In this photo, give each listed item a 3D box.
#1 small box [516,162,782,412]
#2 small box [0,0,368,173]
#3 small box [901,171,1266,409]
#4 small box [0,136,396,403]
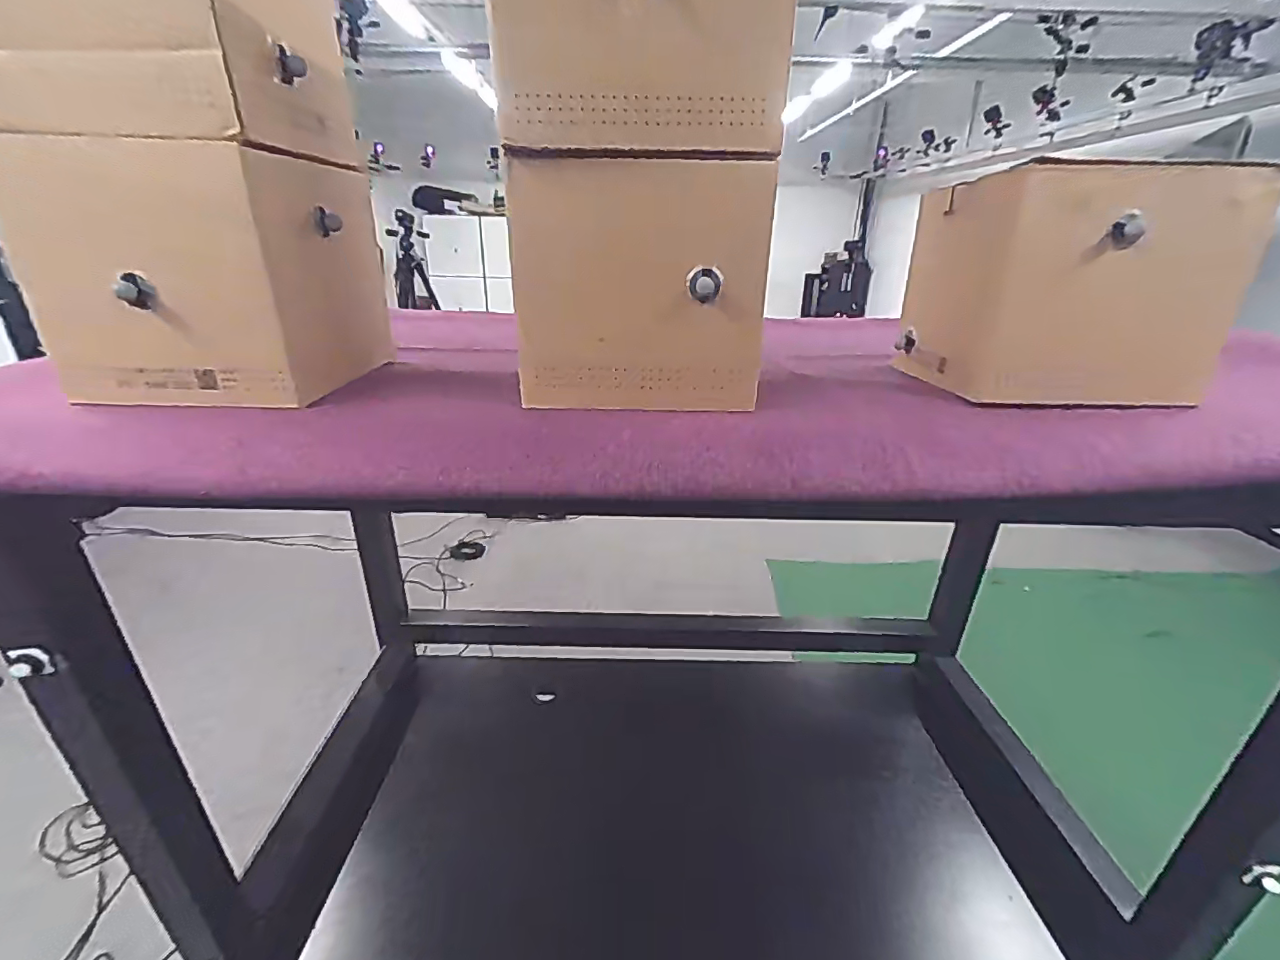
[{"bbox_3d":[0.004,-0.157,0.452,0.179,0.176,0.168,0,23,-1],"label":"small box"},{"bbox_3d":[-0.317,-0.313,0.373,0.179,0.176,0.168,1,24,-4],"label":"small box"},{"bbox_3d":[0.352,-0.161,0.477,0.179,0.176,0.168,2,21,1],"label":"small box"},{"bbox_3d":[-0.317,-0.164,0.439,0.168,0.176,0.179,2,23,-2],"label":"small box"}]
